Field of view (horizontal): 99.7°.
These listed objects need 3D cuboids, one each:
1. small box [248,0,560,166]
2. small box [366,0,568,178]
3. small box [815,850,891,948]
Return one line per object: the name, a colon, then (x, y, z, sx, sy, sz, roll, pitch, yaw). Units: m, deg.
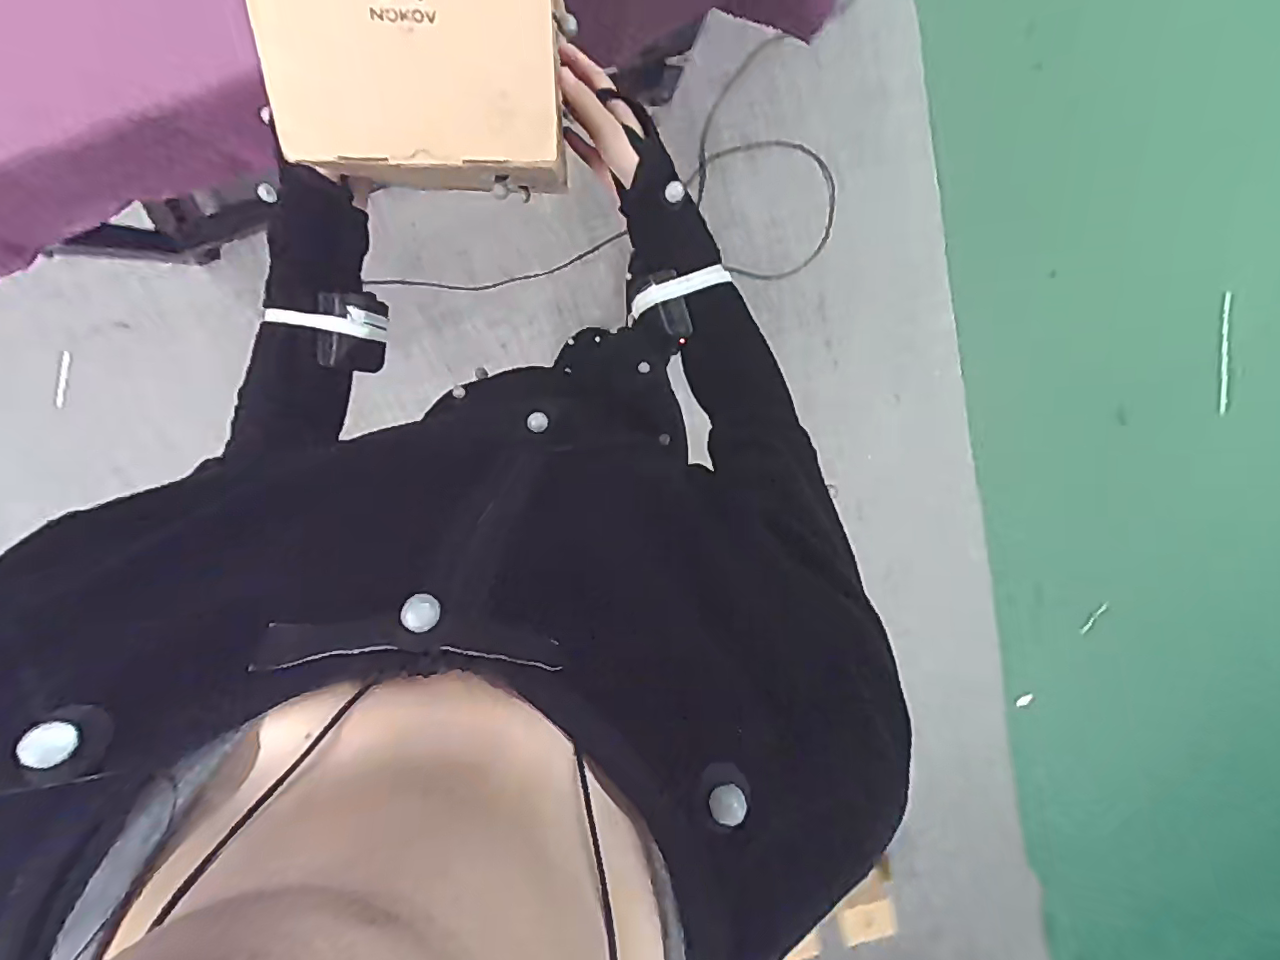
small box: (-0.142, -0.321, 0.366, 0.168, 0.176, 0.179, -2, 115, -7)
small box: (-0.161, -0.388, 0.513, 0.179, 0.176, 0.168, -2, 115, -6)
small box: (0.684, 1.348, 1.744, 0.168, 0.176, 0.179, -15, 108, 0)
